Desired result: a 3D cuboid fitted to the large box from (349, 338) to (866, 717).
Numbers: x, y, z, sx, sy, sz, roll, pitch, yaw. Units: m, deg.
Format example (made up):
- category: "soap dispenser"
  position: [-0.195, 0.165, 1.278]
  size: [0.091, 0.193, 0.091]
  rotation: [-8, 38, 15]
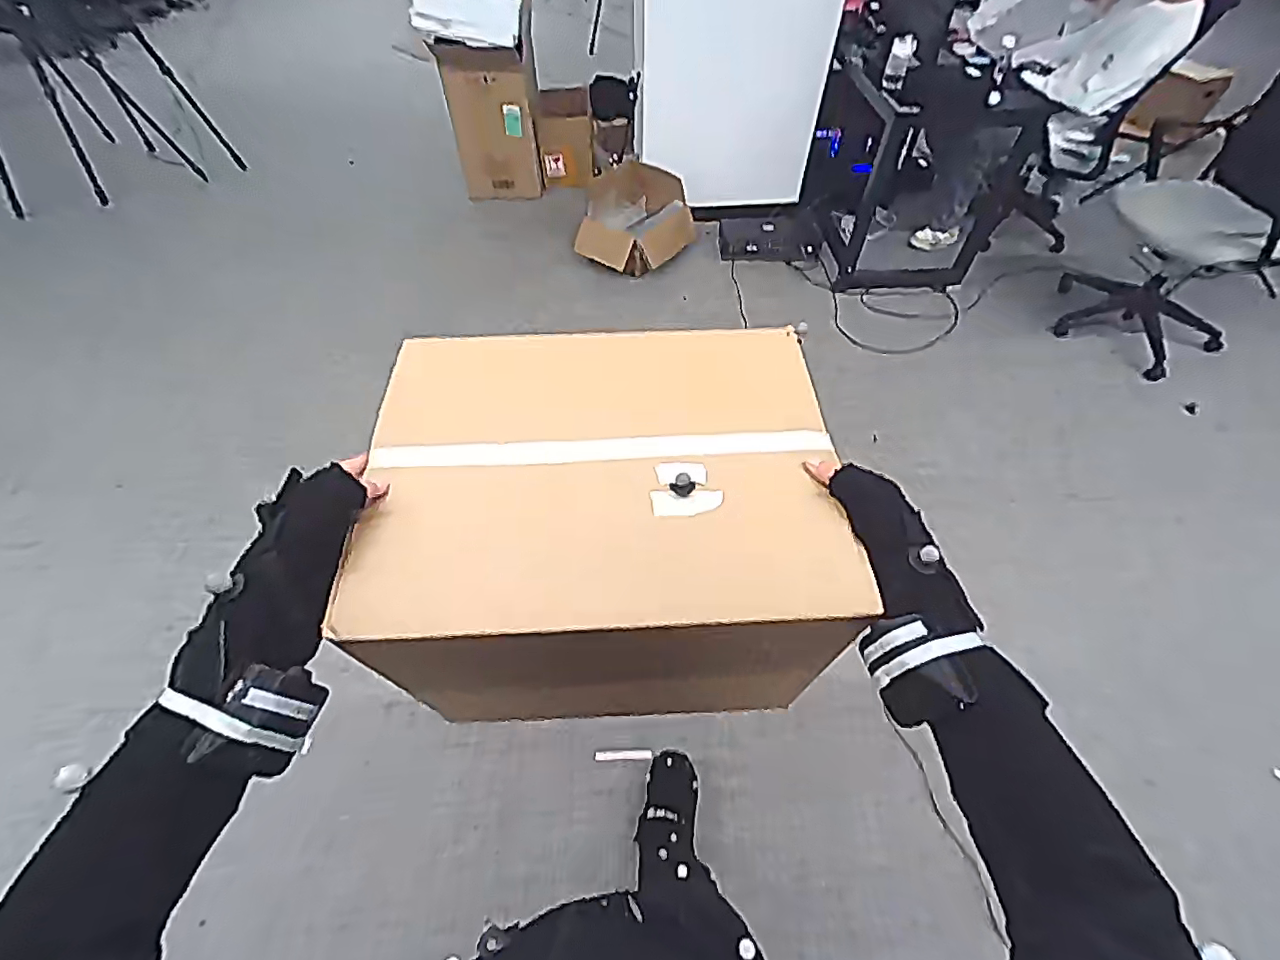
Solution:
- category: "large box"
  position: [-0.031, 0.064, 0.615]
  size: [0.408, 0.320, 0.320]
  rotation: [-2, 55, -2]
